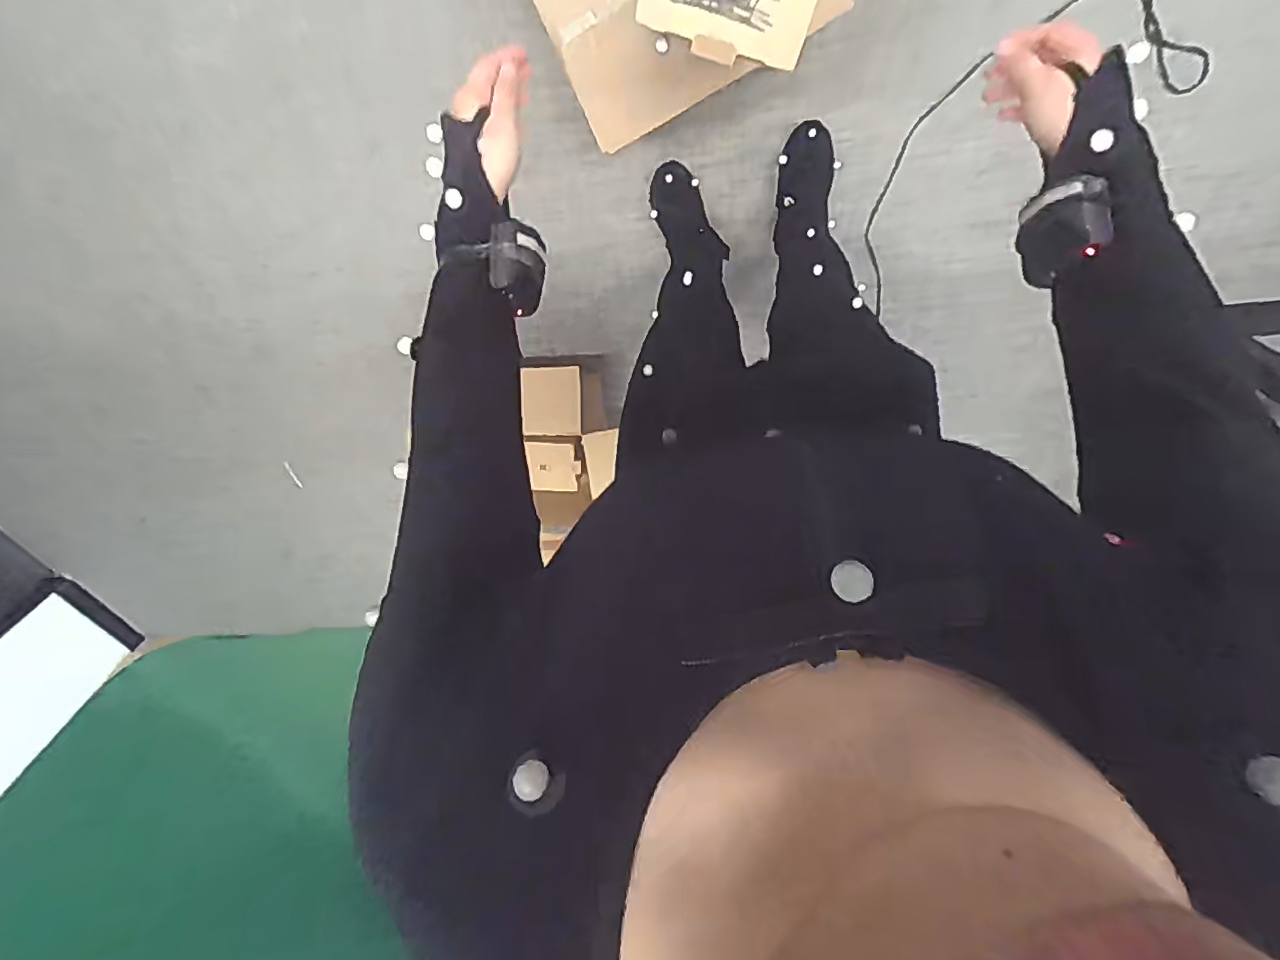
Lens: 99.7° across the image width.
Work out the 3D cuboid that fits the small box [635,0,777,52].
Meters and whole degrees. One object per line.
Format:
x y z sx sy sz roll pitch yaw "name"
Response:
0.100 -0.660 0.660 0.168 0.176 0.179 13 132 -5 "small box"
